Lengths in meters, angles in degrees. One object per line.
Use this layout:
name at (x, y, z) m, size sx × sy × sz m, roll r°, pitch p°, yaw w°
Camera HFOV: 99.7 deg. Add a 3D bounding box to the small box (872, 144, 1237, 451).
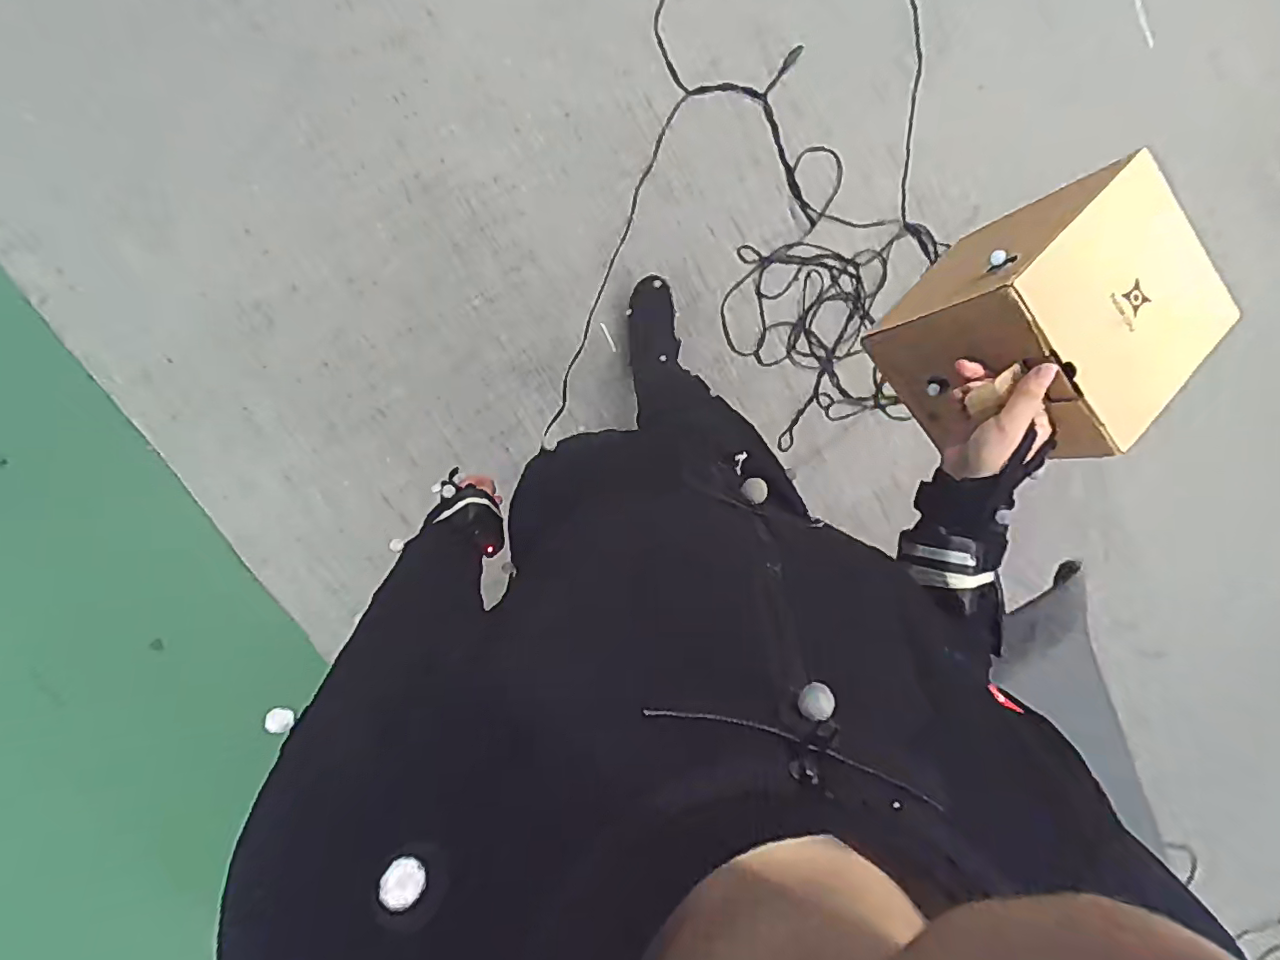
small box at (0.353, -0.142, 0.486) m, size 0.179 × 0.176 × 0.168 m, roll -44°, pitch 101°, yaw -10°
